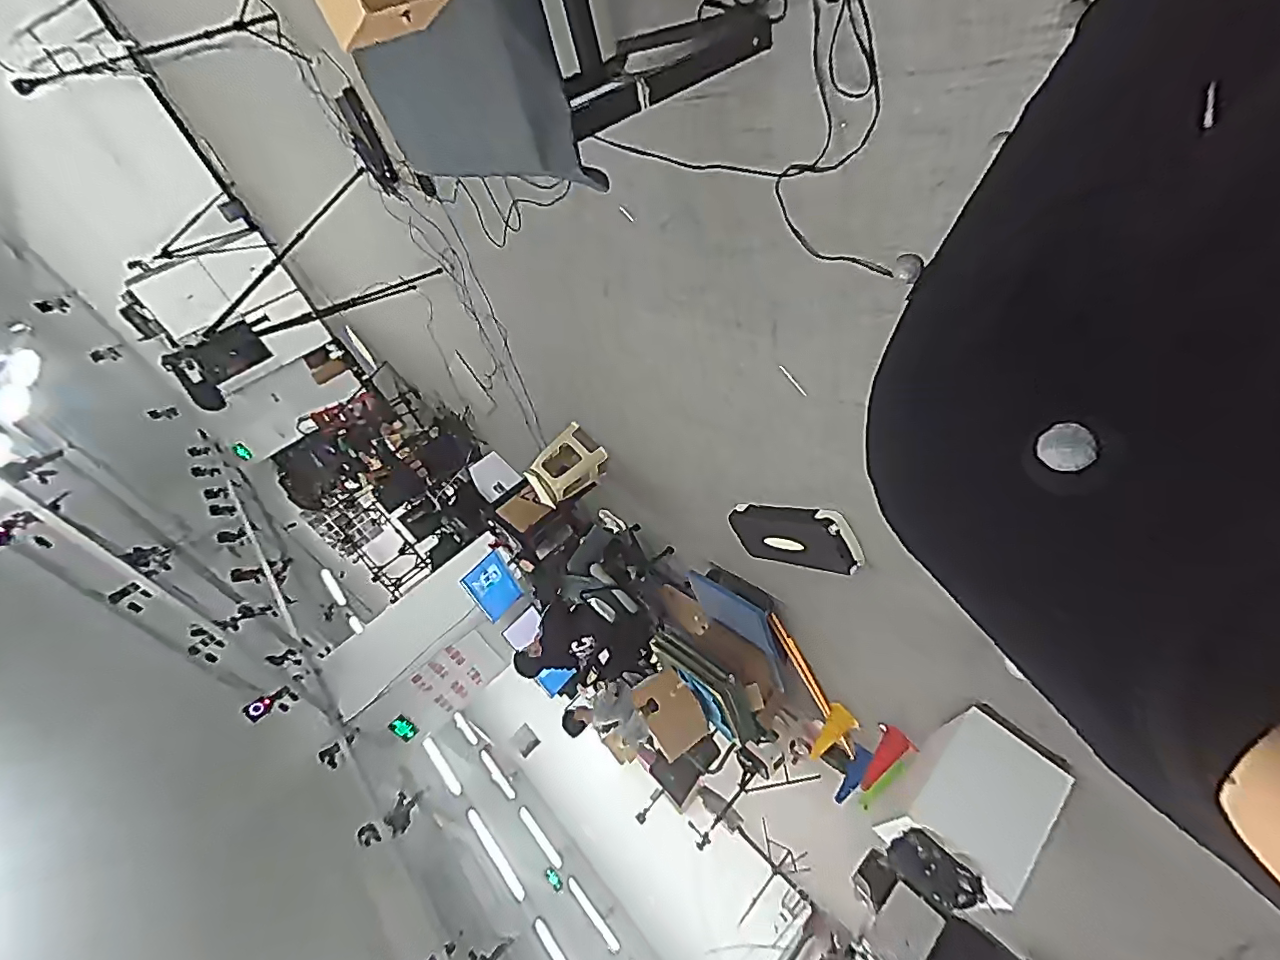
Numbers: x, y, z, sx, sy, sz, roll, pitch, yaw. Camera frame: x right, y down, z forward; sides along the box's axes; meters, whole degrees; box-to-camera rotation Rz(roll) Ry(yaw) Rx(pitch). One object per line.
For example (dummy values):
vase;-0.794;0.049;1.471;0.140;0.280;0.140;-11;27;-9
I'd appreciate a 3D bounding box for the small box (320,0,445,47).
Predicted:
small box;-0.425;-0.834;0.854;0.179;0.176;0.168;23;144;50
